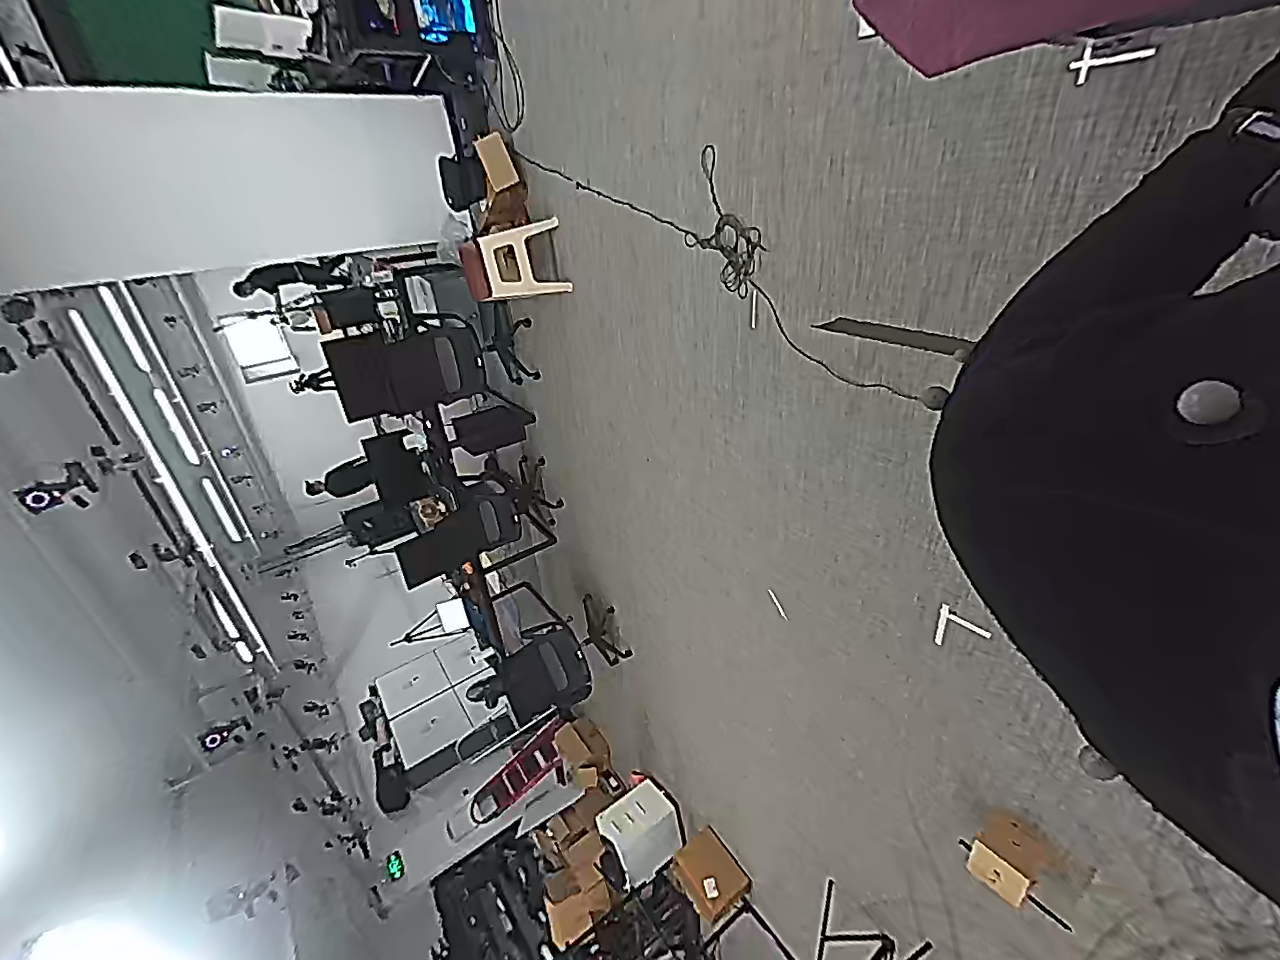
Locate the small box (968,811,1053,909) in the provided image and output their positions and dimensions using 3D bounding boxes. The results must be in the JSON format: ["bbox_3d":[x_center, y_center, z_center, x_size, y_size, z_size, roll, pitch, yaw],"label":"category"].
[{"bbox_3d":[1.238,1.258,1.804,0.168,0.176,0.179,30,135,48],"label":"small box"}]
